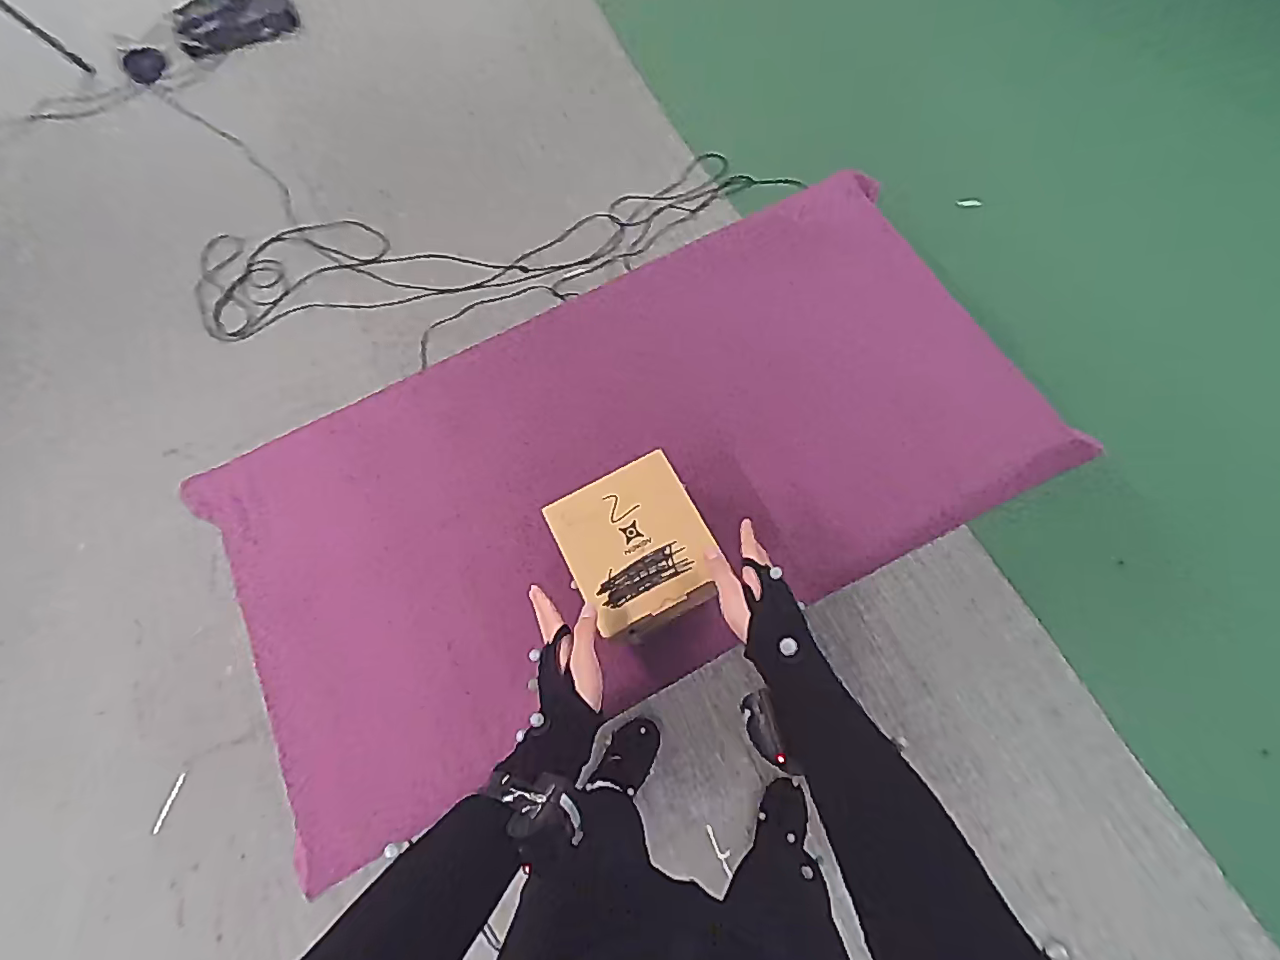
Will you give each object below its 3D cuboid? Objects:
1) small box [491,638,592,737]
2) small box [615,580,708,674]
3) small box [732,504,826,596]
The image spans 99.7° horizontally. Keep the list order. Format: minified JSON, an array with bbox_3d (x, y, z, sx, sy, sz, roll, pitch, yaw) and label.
[{"bbox_3d":[-0.238,0.513,1.345,0.179,0.176,0.168,-28,71,-6],"label":"small box"},{"bbox_3d":[0.055,0.375,1.371,0.179,0.176,0.168,-27,71,-5],"label":"small box"},{"bbox_3d":[0.352,0.189,1.413,0.179,0.176,0.168,-25,71,-4],"label":"small box"}]
